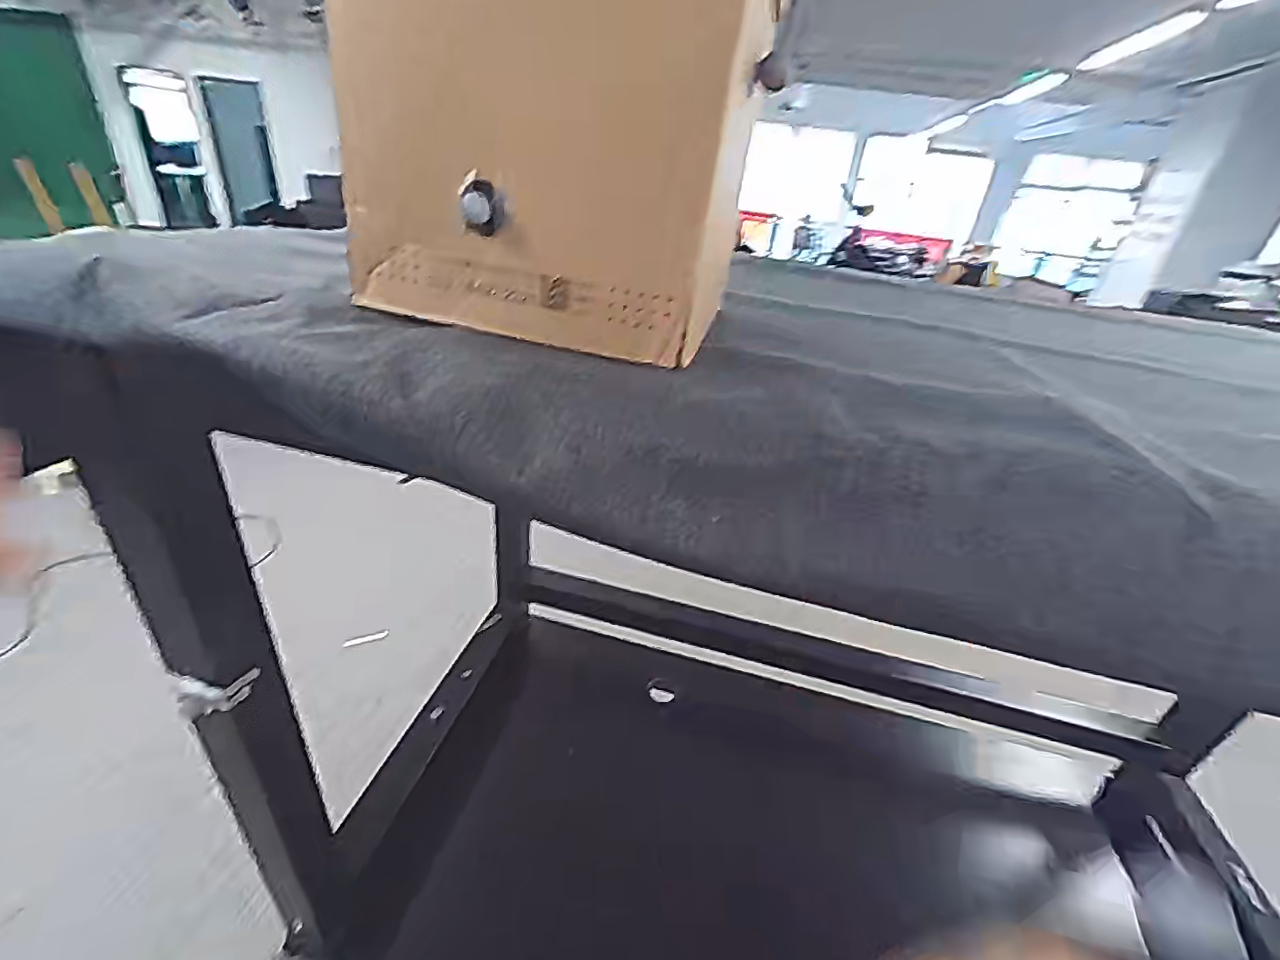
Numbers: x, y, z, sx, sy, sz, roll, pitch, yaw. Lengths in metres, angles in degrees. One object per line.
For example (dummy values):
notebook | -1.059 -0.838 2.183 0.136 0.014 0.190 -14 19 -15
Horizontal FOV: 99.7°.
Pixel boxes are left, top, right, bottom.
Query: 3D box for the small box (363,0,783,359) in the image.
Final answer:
small box | -0.026 -0.178 0.289 0.168 0.176 0.179 13 28 8
